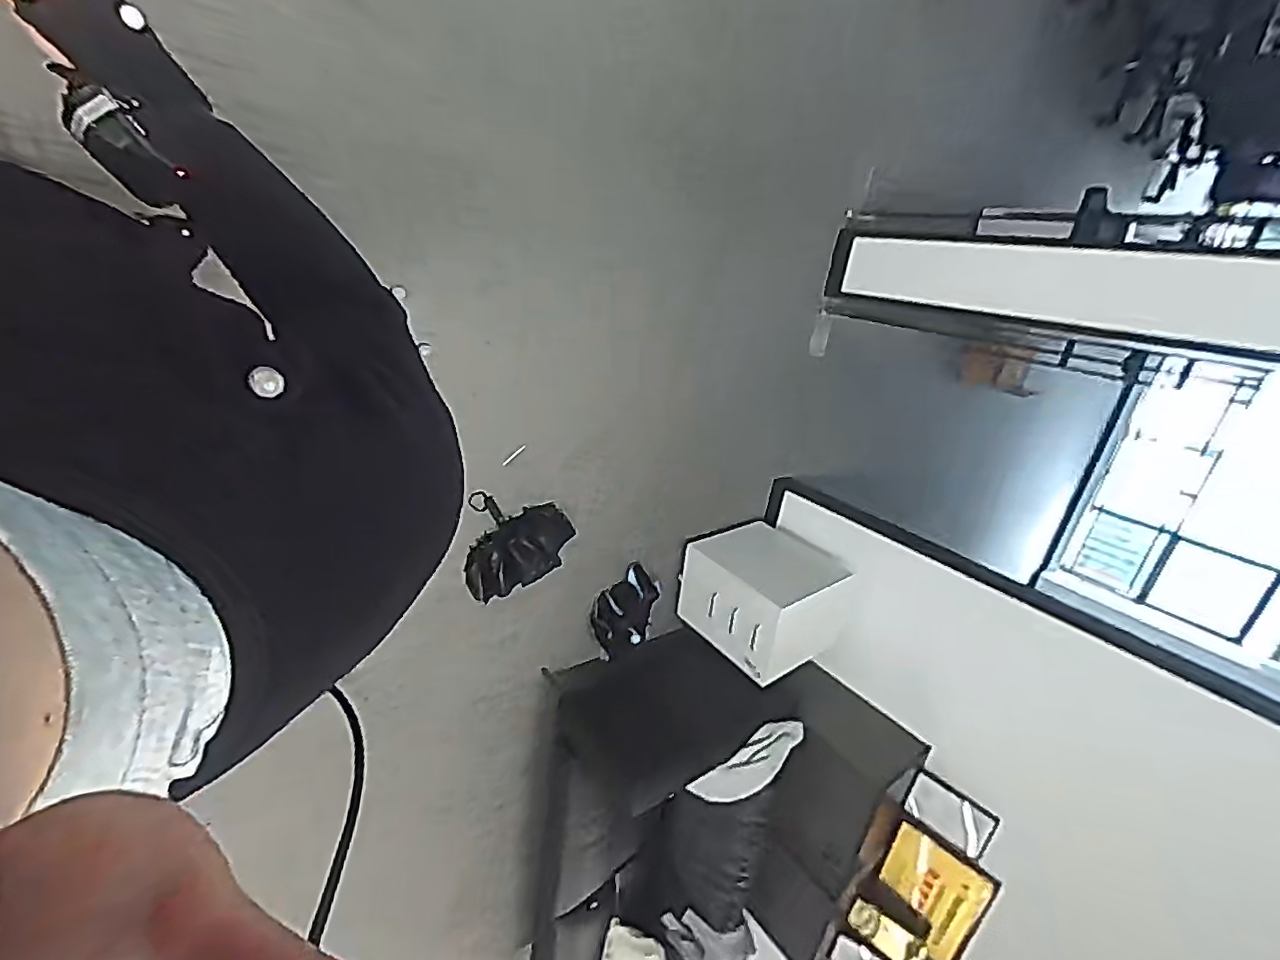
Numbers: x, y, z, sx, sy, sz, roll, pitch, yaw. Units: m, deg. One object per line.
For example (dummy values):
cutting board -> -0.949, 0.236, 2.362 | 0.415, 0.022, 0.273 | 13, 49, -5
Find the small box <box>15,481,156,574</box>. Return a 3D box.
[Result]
small box -> -1.172, 0.117, 1.151 | 0.168, 0.176, 0.179 | -21, 125, -29

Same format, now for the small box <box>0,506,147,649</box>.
small box -> -1.081, 0.177, 1.028 | 0.168, 0.176, 0.179 | -20, 122, -30
